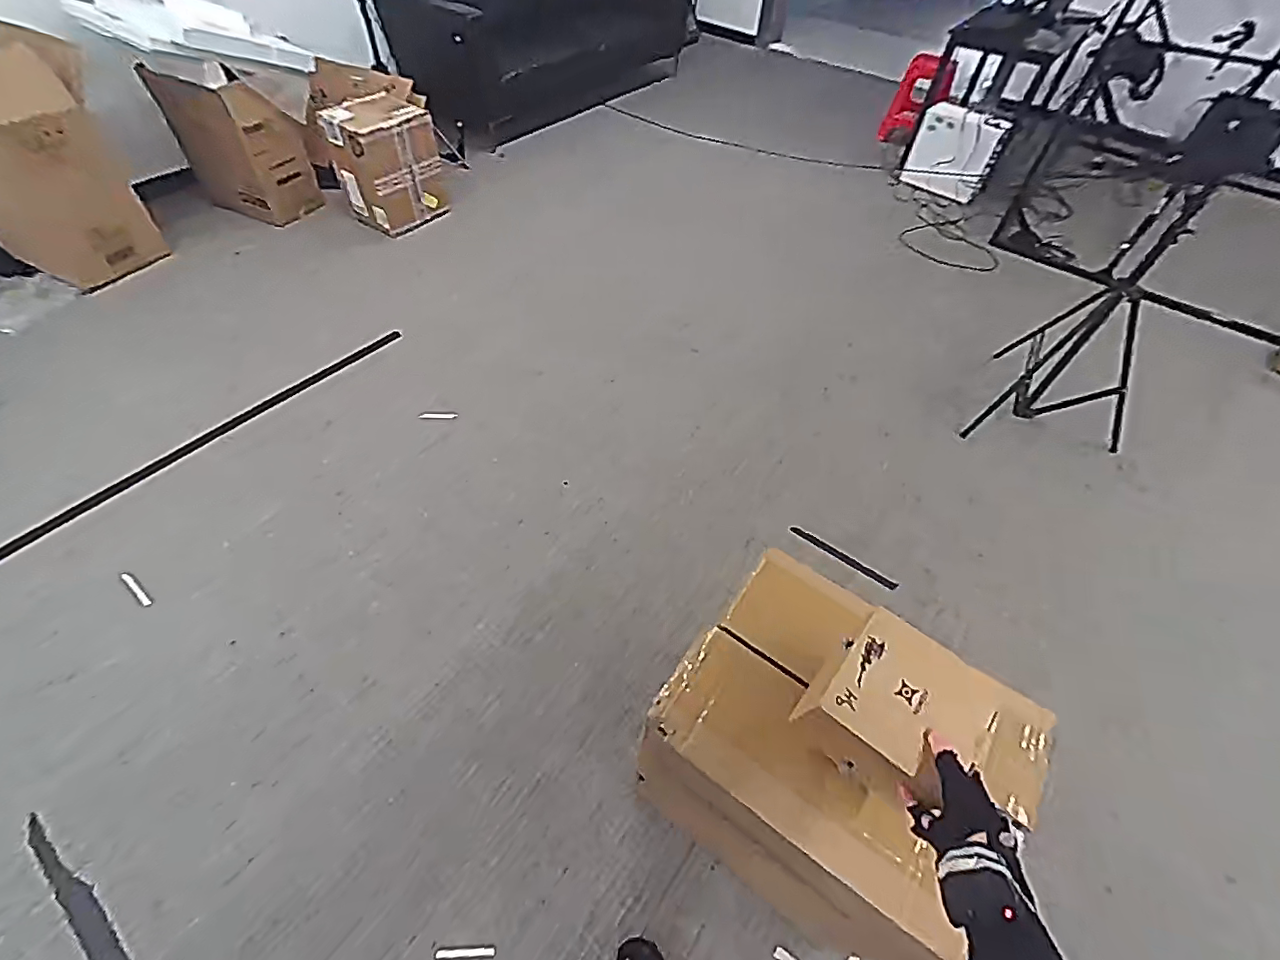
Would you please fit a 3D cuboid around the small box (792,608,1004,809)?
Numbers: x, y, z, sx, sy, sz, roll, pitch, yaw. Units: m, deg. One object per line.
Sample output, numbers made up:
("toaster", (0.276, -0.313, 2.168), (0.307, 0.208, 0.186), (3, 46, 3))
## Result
("small box", (0.334, 0.309, 0.732), (0.179, 0.176, 0.168), (34, 65, 21))
